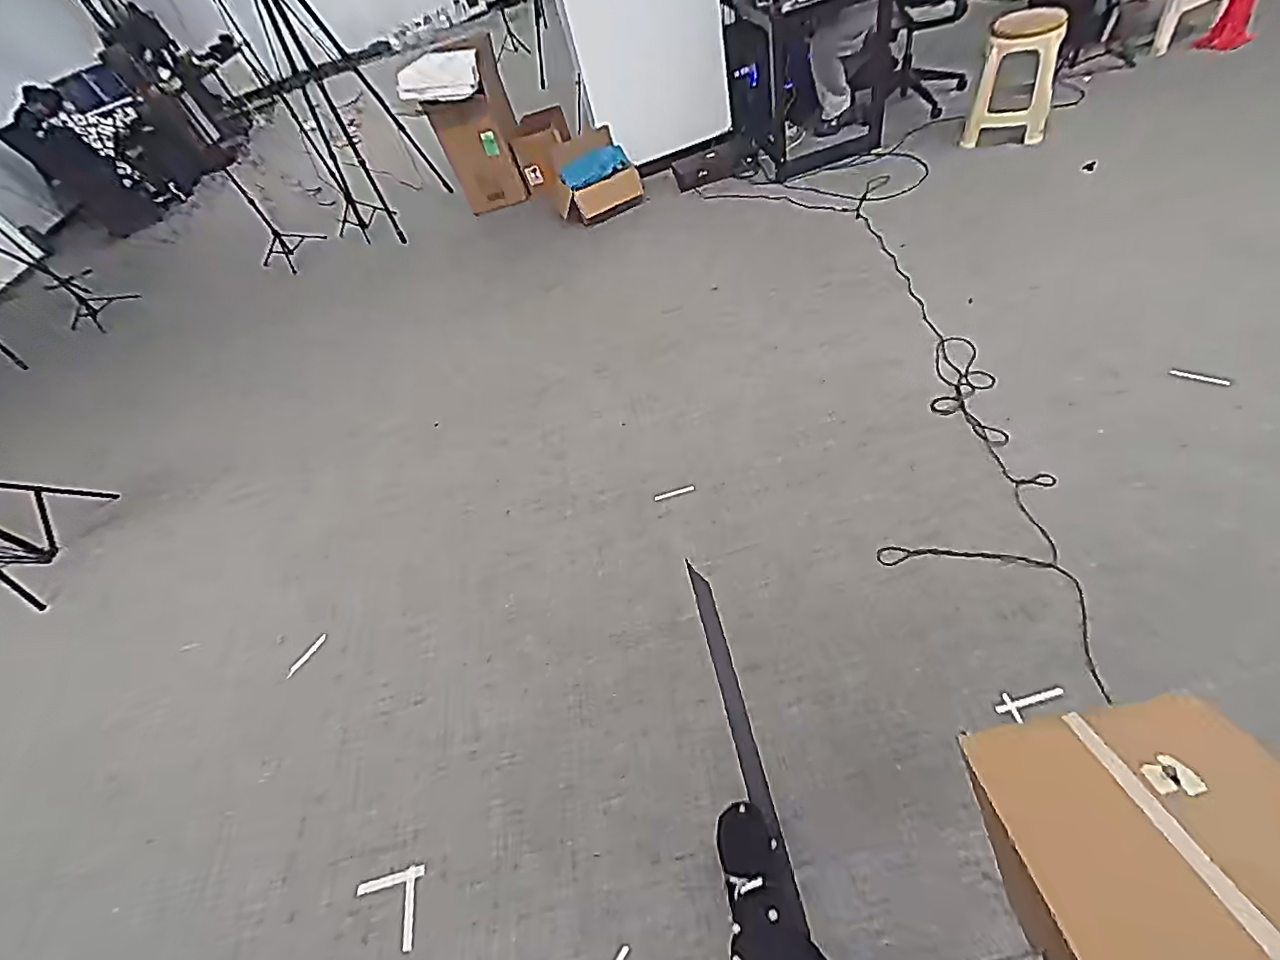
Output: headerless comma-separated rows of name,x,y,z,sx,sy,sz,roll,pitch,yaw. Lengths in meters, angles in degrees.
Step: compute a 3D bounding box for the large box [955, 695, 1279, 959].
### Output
large box,0.655,0.539,0.643,0.320,0.320,0.408,-19,10,14
